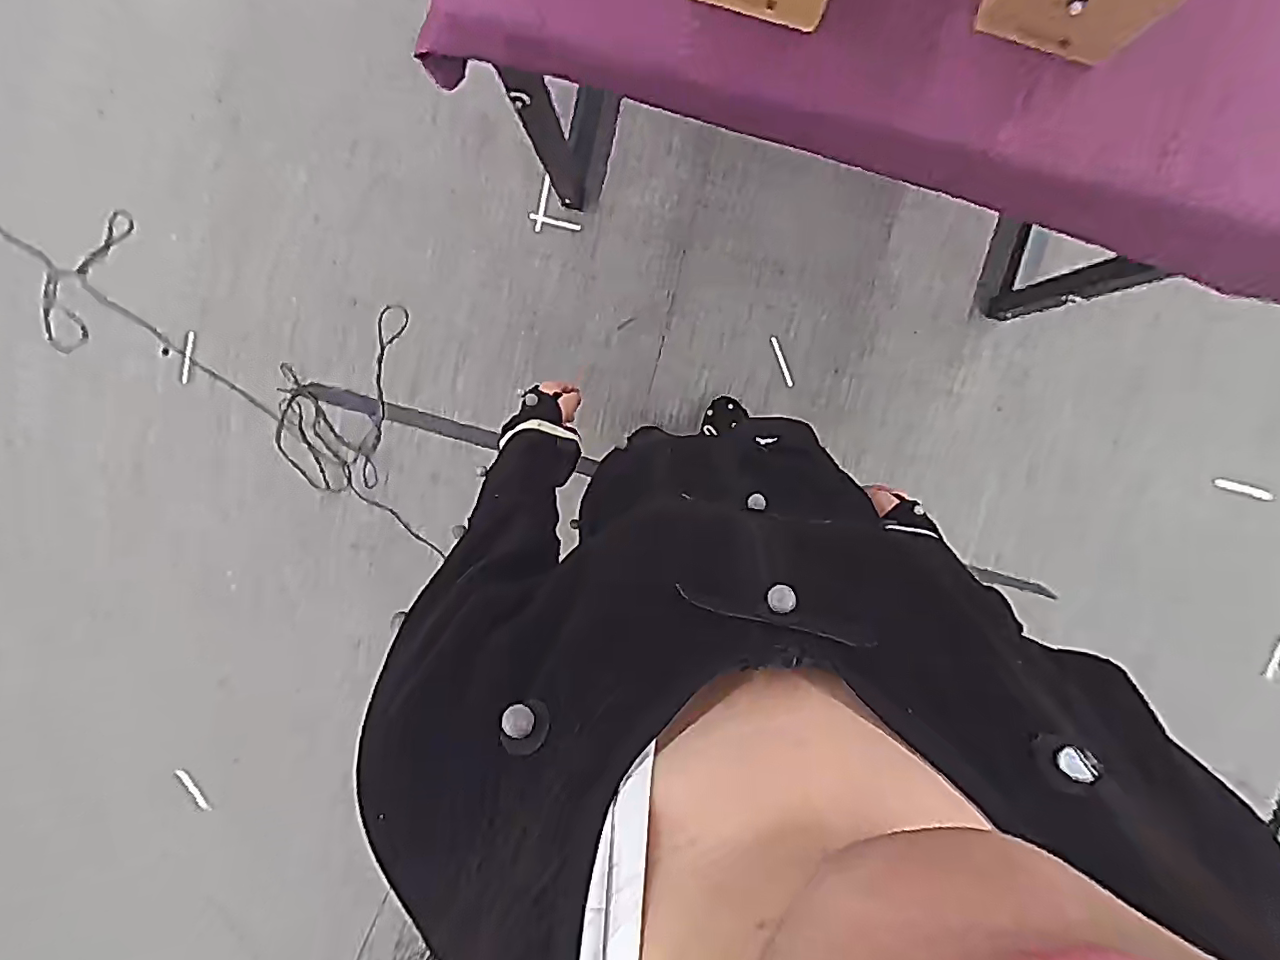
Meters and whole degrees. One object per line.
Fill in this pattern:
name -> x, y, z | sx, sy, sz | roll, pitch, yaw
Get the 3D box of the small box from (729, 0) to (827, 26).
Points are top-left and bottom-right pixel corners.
small box -> 0.161, -0.651, 0.583 | 0.168, 0.176, 0.179 | 16, 97, 0

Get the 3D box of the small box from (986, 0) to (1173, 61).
small box -> 0.514, -0.604, 0.576 | 0.168, 0.176, 0.179 | 18, 98, -1
